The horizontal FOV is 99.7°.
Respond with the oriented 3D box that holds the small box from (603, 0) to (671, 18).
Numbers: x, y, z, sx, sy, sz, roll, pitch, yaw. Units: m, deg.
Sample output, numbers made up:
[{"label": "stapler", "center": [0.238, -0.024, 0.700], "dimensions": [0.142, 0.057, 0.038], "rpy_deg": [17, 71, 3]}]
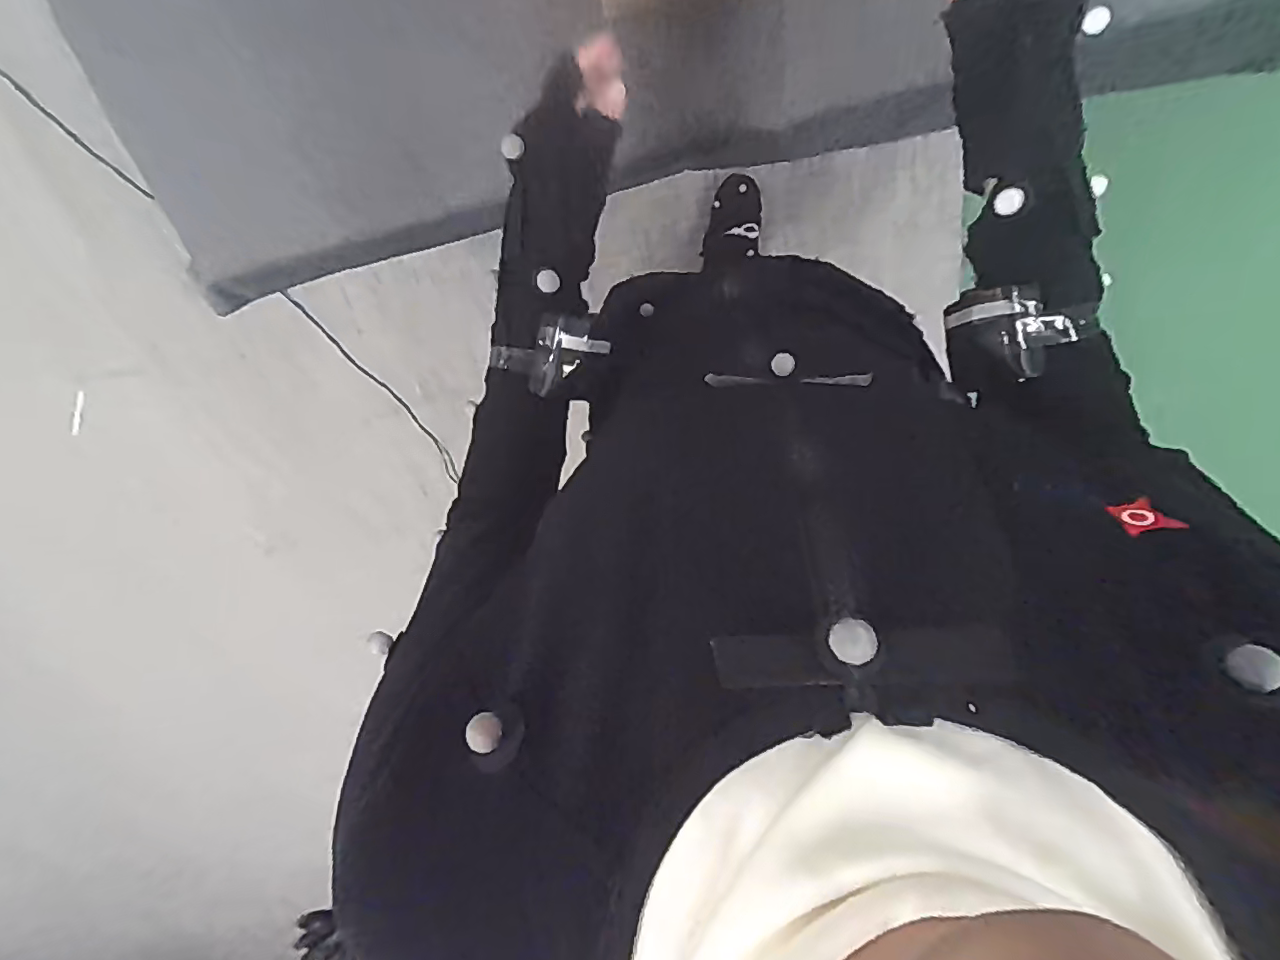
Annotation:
[{"label": "small box", "center": [0.034, -0.468, 0.372], "dimensions": [0.179, 0.176, 0.168], "rpy_deg": [-17, 115, 6]}]
